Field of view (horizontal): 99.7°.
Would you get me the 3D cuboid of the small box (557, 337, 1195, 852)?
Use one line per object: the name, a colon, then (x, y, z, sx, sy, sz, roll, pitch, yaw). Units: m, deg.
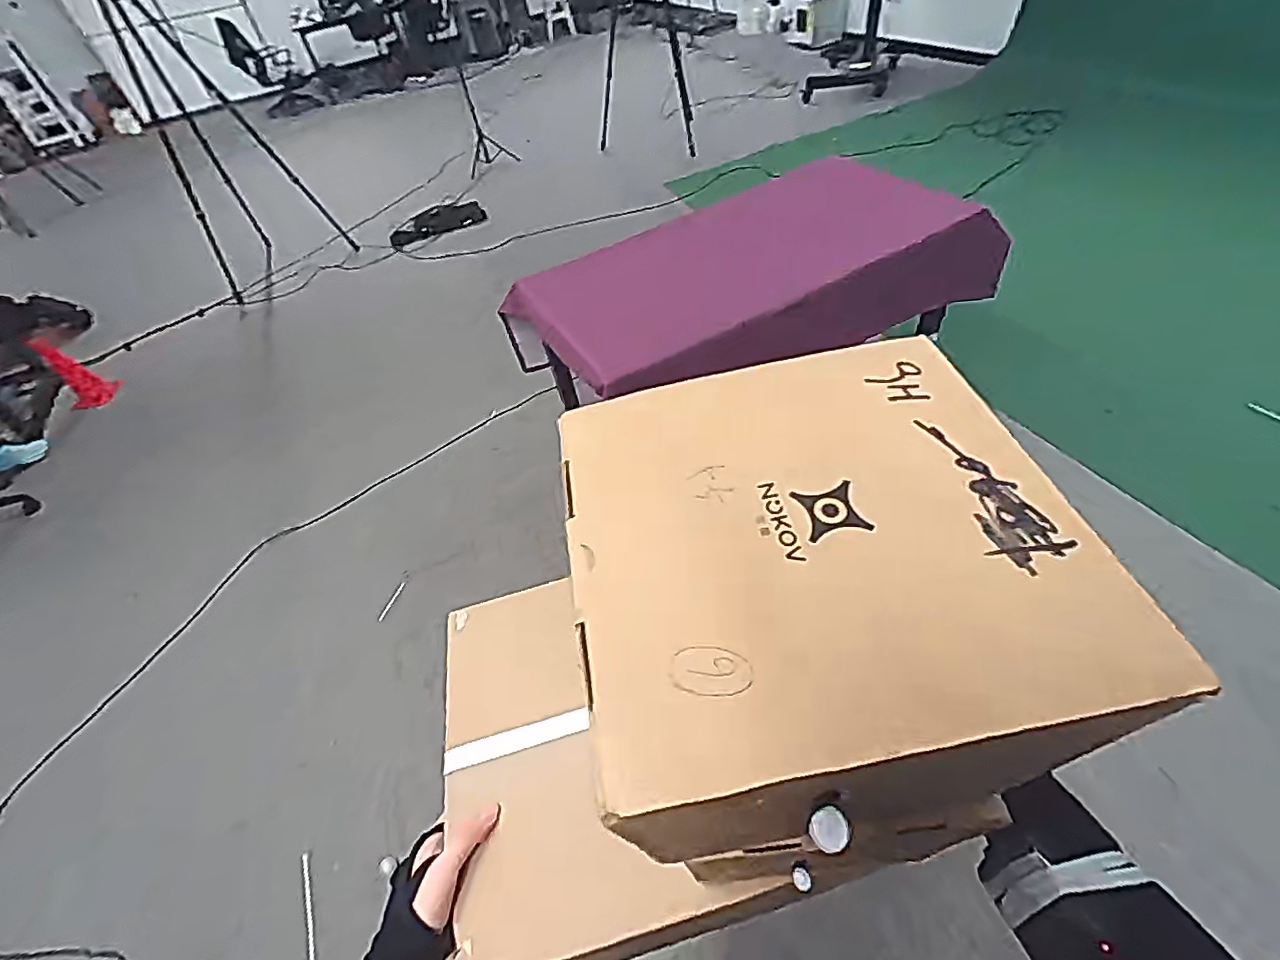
small box: (0.069, 0.064, 0.260, 0.179, 0.176, 0.168, -12, 52, 1)

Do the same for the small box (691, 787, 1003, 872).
small box: (0.105, 0.164, 0.387, 0.168, 0.176, 0.179, -8, 52, 3)
